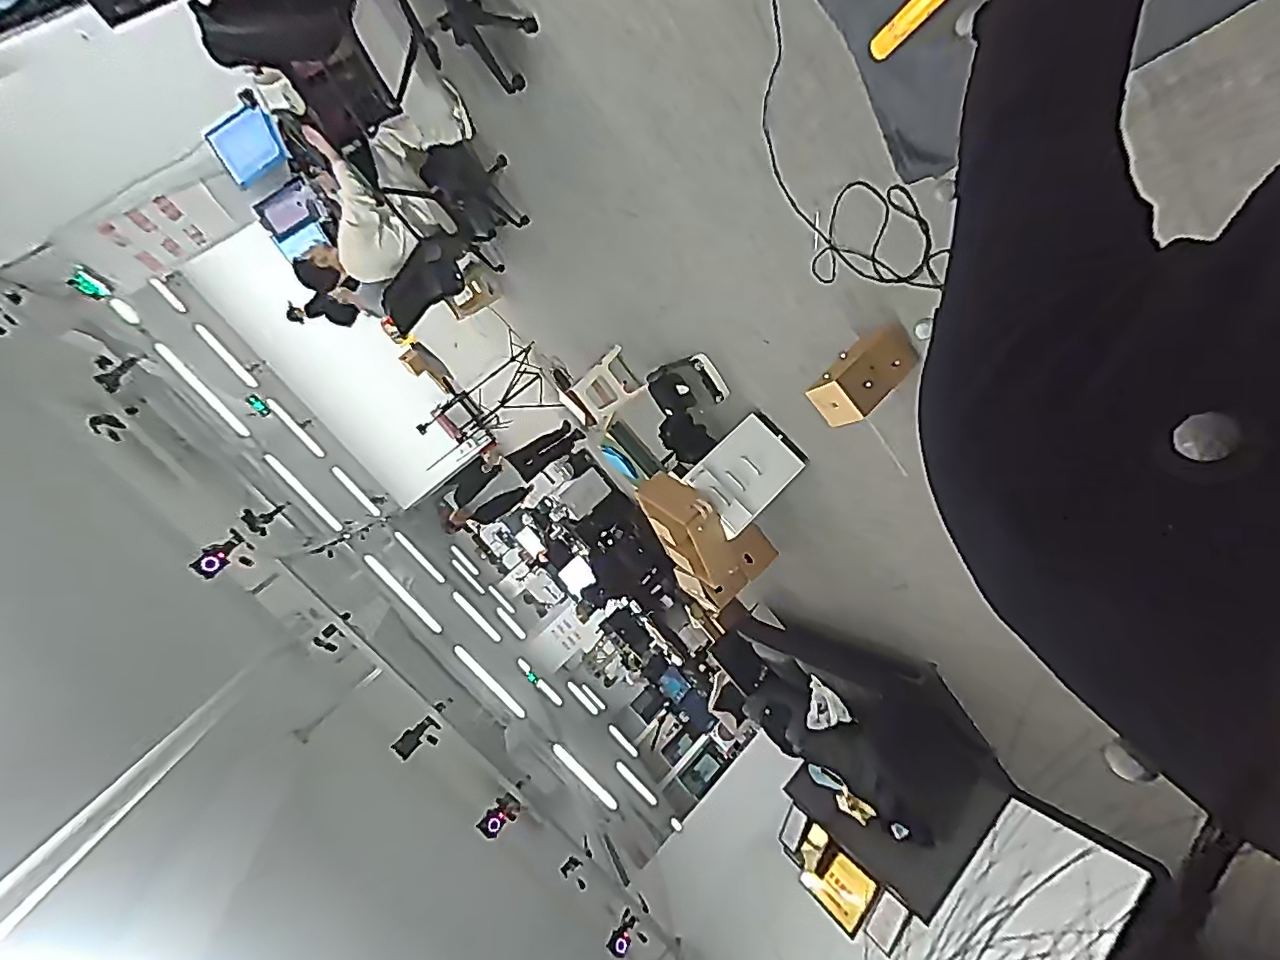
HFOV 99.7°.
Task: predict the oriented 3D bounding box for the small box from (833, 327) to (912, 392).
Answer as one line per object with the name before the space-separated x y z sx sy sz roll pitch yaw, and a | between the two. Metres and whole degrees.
small box | 0.834 -0.417 1.925 0.168 0.176 0.179 49 165 -9

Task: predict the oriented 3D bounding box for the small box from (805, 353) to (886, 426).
small box | 0.718 -0.312 1.873 0.168 0.176 0.179 49 165 -8
